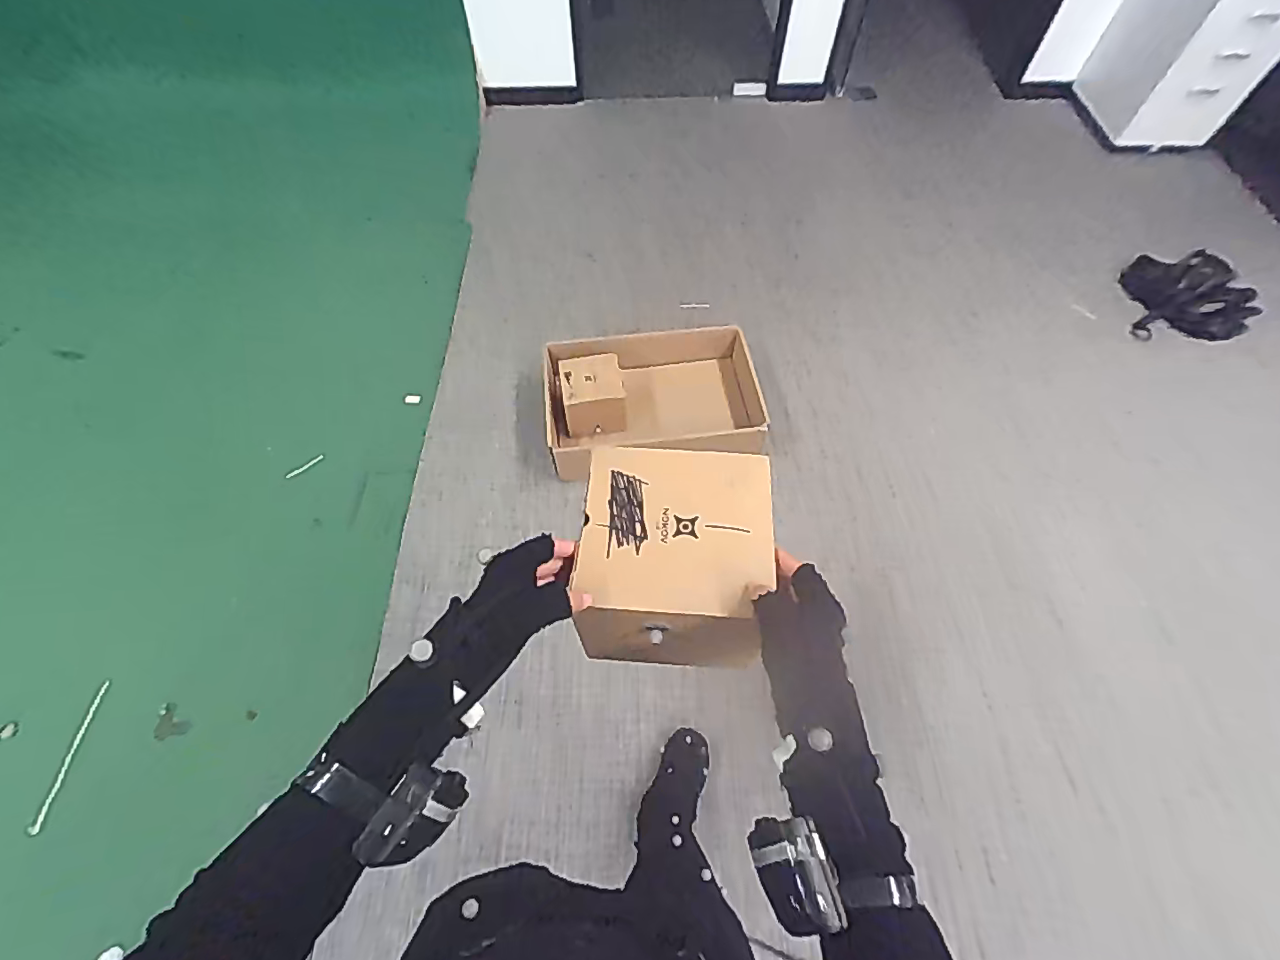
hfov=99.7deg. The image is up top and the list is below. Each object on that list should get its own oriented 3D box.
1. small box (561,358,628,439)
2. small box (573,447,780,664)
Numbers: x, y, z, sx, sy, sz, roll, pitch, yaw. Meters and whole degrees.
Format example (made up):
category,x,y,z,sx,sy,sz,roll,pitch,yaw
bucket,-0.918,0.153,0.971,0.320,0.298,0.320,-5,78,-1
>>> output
category,x,y,z,sx,sy,sz,roll,pitch,yaw
small box,-0.136,-0.239,1.610,0.179,0.176,0.168,-8,59,-6
small box,0.038,0.084,0.558,0.179,0.176,0.168,3,58,3
